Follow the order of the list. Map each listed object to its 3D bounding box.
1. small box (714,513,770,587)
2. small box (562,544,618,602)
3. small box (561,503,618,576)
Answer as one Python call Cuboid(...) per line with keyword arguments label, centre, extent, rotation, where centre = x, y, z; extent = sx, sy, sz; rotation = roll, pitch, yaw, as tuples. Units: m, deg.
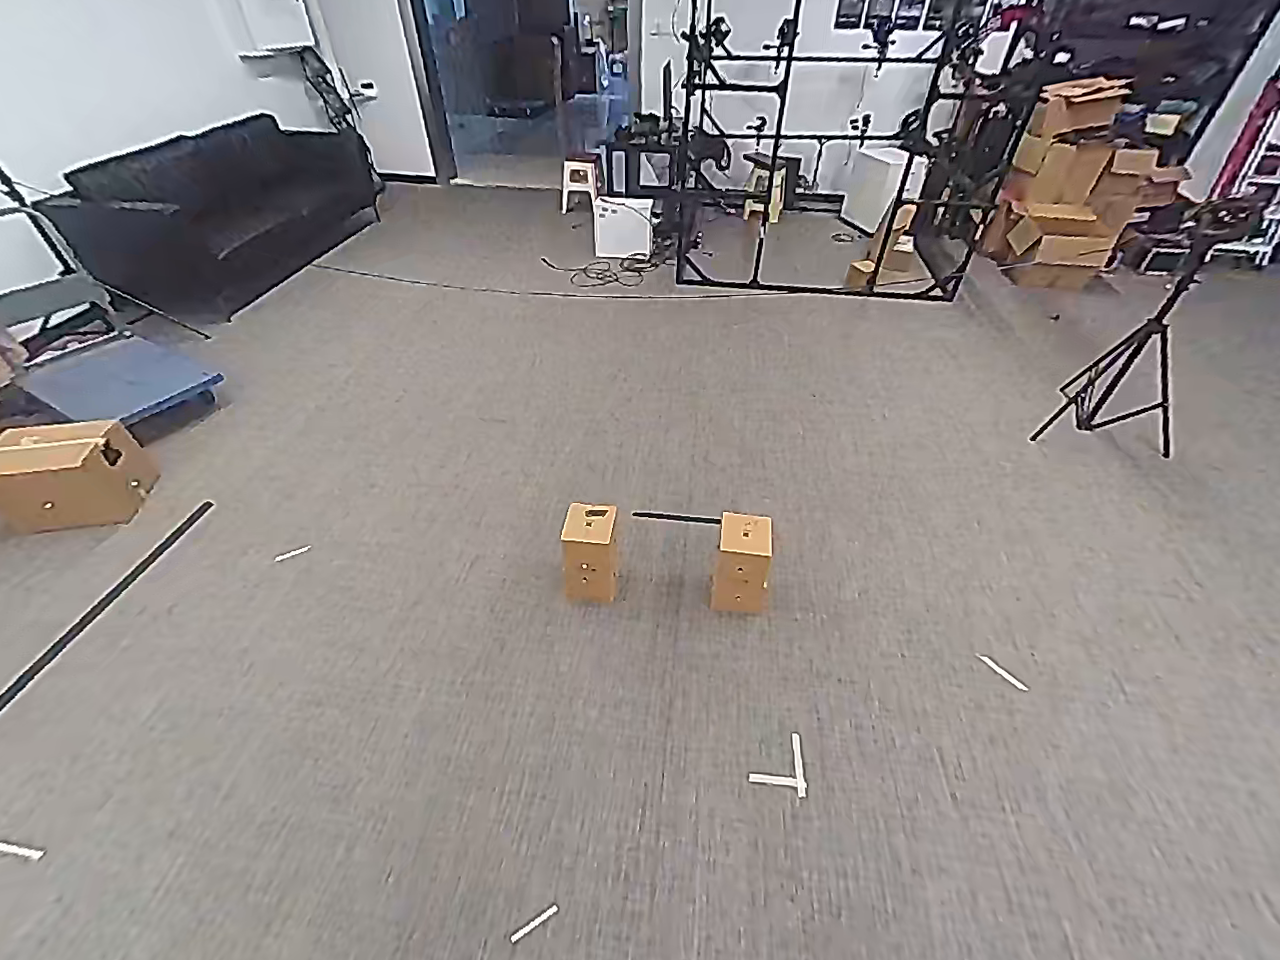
Cuboid(label="small box", centre=(0.347, 0.241, 1.839), extent=(0.168, 0.176, 0.179), rotation=(7, 43, 7))
Cuboid(label="small box", centre=(-0.176, 0.329, 1.981), extent=(0.179, 0.176, 0.168), rotation=(4, 43, 5))
Cuboid(label="small box", centre=(-0.169, 0.206, 1.872), extent=(0.168, 0.176, 0.179), rotation=(5, 43, 6))
